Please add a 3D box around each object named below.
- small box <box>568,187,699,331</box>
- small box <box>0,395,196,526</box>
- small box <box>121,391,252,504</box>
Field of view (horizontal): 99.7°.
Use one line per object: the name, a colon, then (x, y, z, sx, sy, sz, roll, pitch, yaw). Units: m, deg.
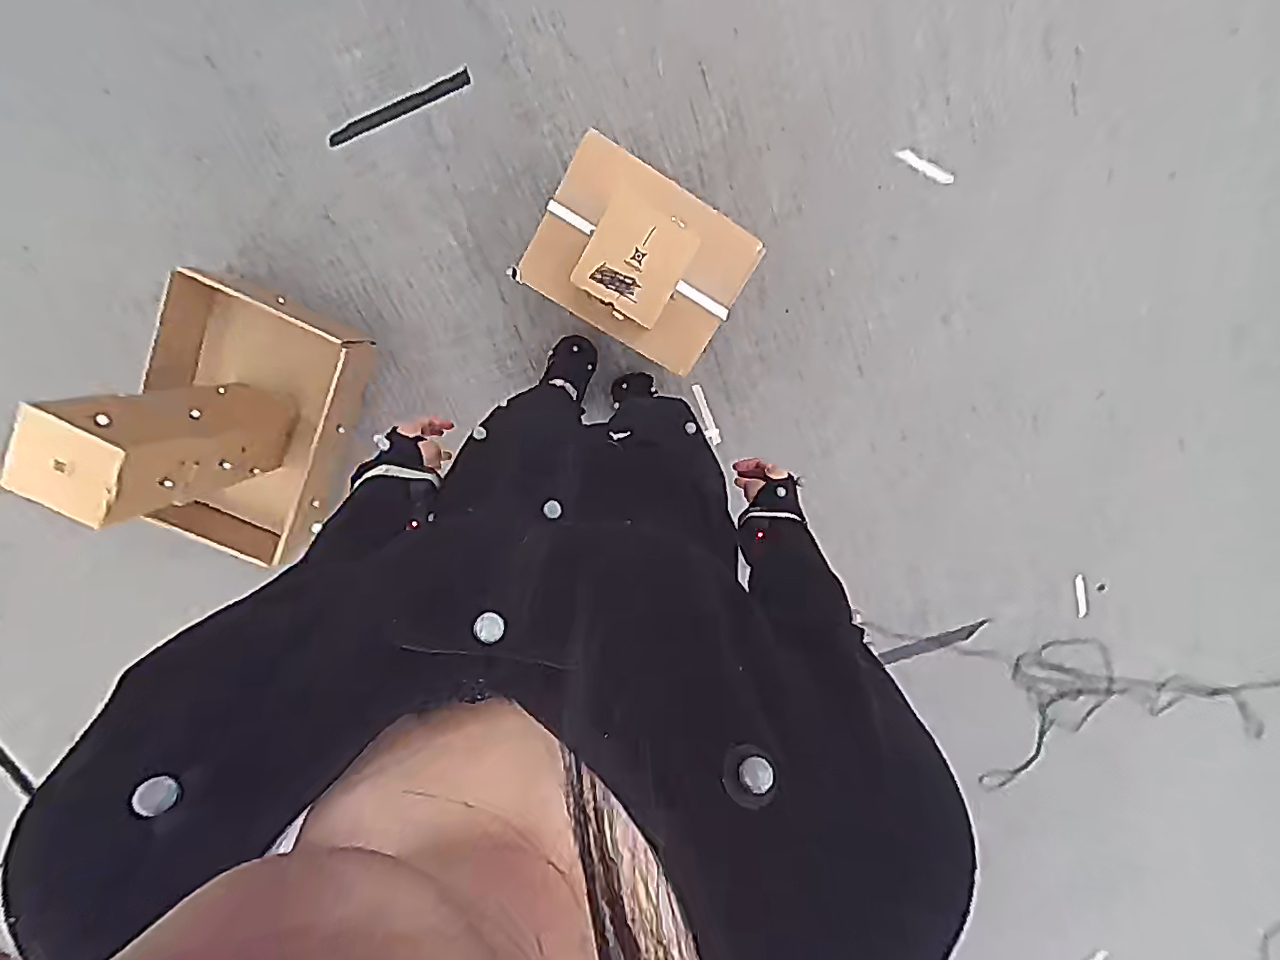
small box: (-0.012, -0.392, 0.993, 0.168, 0.176, 0.179, 30, 102, -10)
small box: (-0.986, -0.045, 0.996, 0.179, 0.176, 0.168, 28, 102, -8)
small box: (-0.986, -0.078, 1.156, 0.179, 0.176, 0.168, 29, 102, -9)
